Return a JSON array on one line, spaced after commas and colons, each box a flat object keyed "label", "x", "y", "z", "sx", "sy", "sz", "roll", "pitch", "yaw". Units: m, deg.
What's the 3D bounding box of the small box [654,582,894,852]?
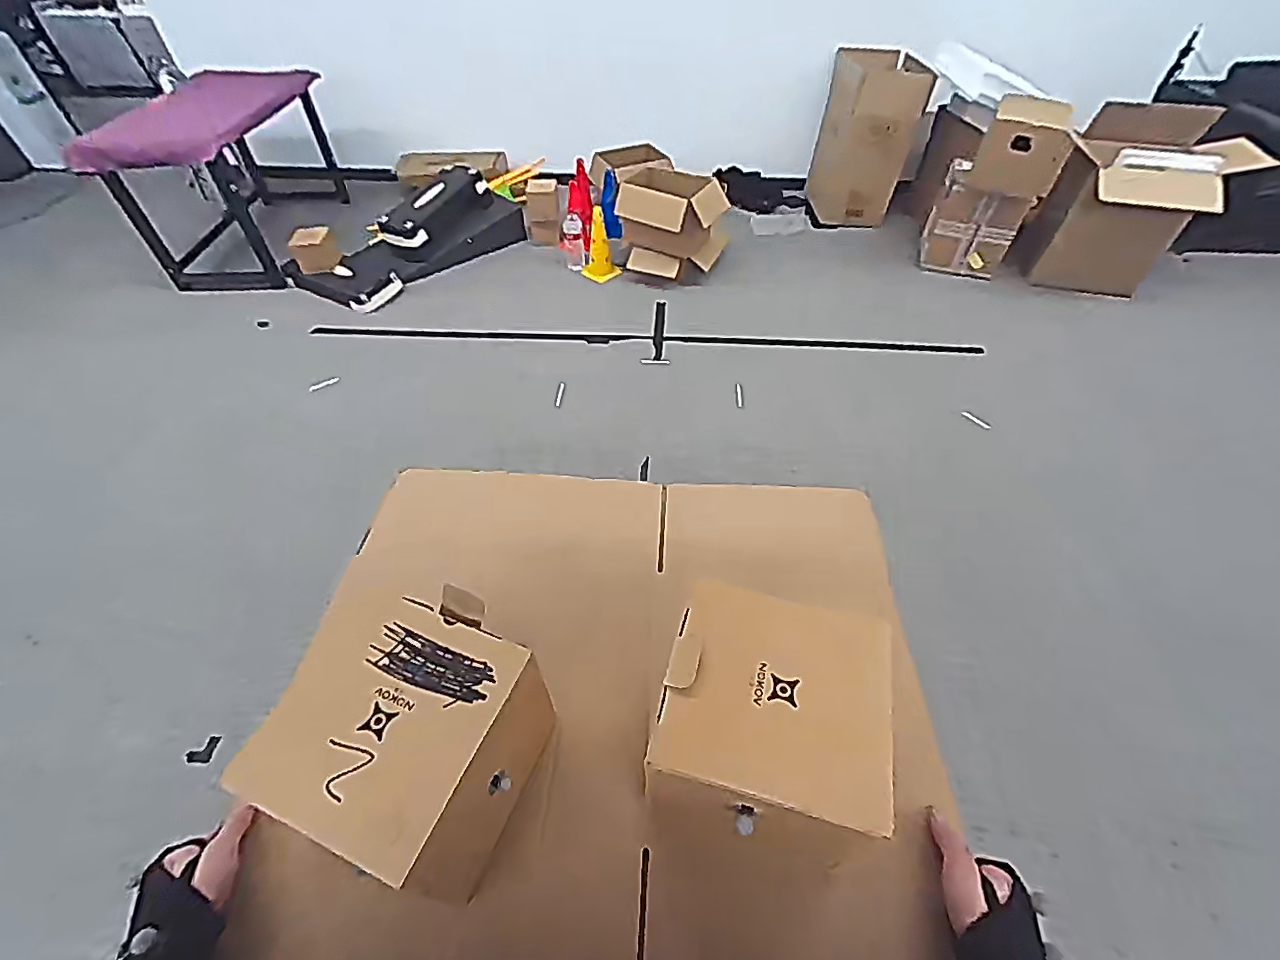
[{"label": "small box", "x": 0.120, "y": 0.223, "z": 0.505, "sx": 0.179, "sy": 0.176, "sz": 0.168, "roll": 10, "pitch": 50, "yaw": 13}]
